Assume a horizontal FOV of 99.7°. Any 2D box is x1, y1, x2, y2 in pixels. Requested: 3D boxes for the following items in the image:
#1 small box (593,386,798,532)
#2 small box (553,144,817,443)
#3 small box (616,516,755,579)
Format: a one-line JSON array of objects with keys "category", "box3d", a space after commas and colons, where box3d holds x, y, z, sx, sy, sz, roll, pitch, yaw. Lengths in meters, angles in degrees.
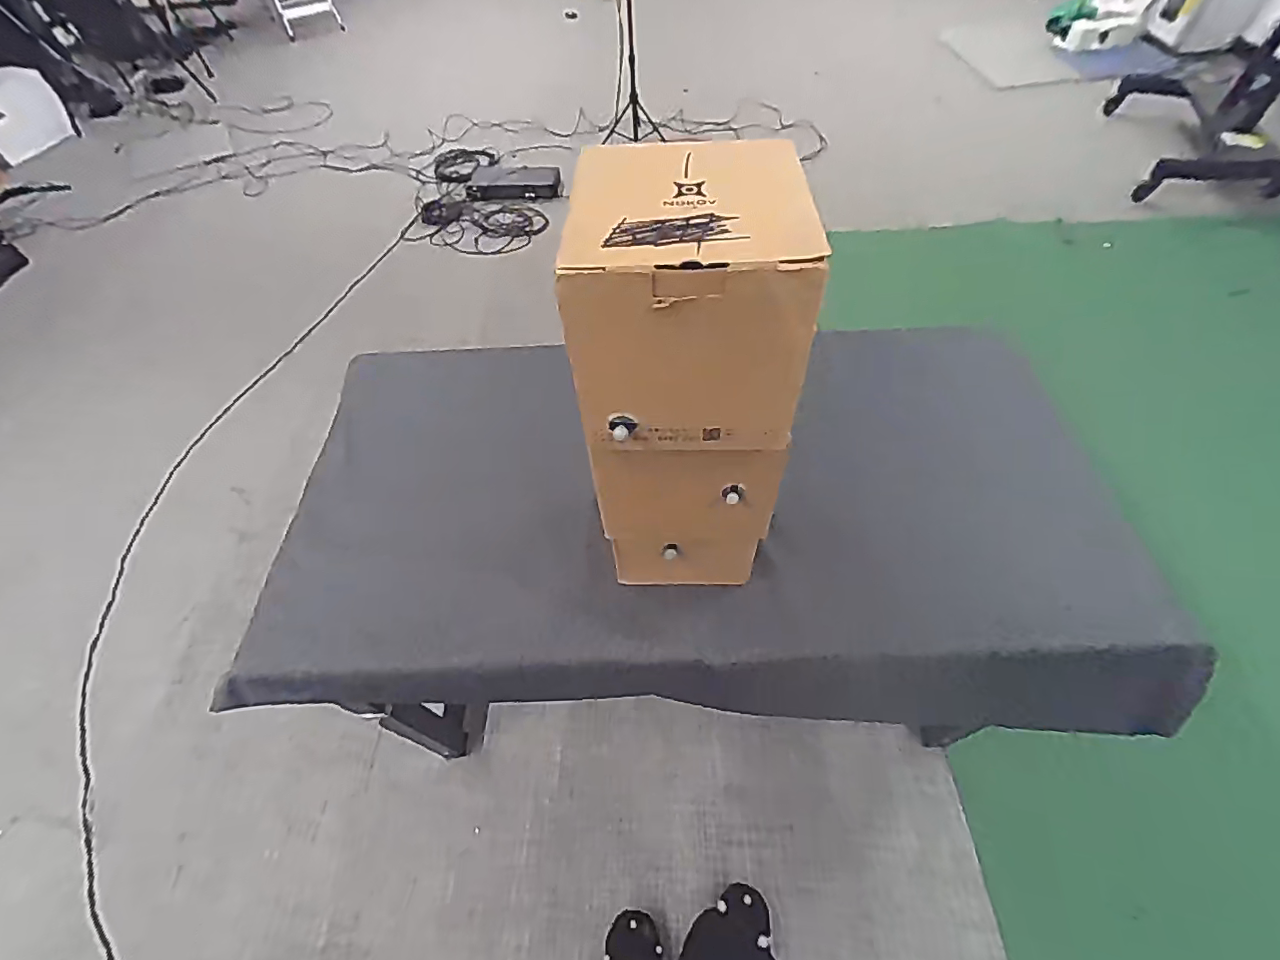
[{"category": "small box", "box3d": [0.046, -0.059, 0.562, 0.179, 0.176, 0.168, -4, 54, 0]}, {"category": "small box", "box3d": [0.034, -0.144, 0.440, 0.168, 0.176, 0.179, 0, 53, 3]}, {"category": "small box", "box3d": [0.054, 0.022, 0.725, 0.179, 0.176, 0.168, -3, 53, 0]}]
